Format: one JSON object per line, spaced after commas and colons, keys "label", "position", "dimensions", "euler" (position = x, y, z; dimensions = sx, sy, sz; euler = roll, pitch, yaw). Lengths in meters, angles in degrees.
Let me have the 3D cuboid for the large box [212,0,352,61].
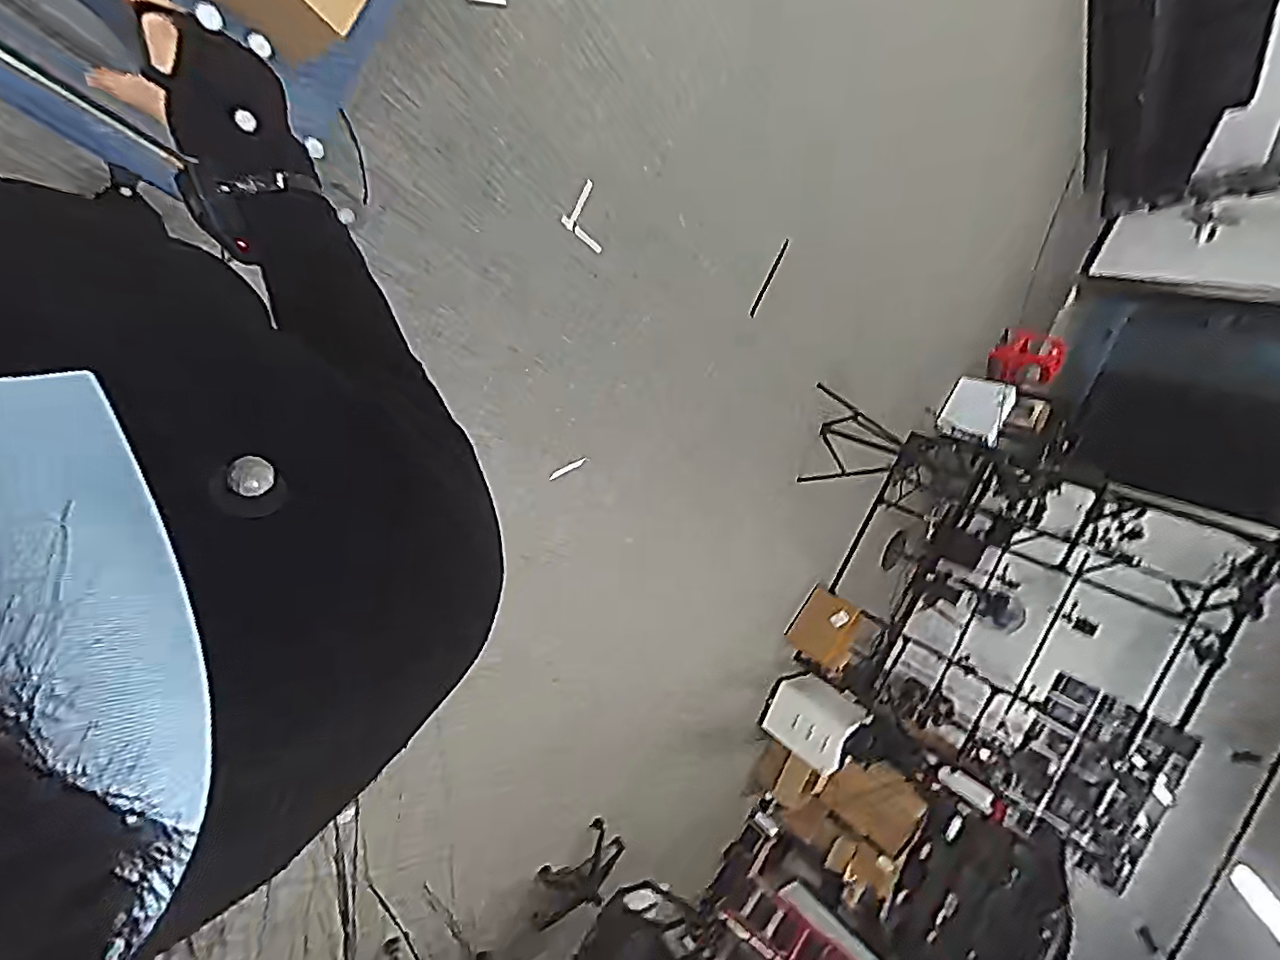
{"label": "large box", "position": [-0.588, -0.901, 0.743], "dimensions": [0.408, 0.320, 0.320], "euler": [30, 87, -48]}
